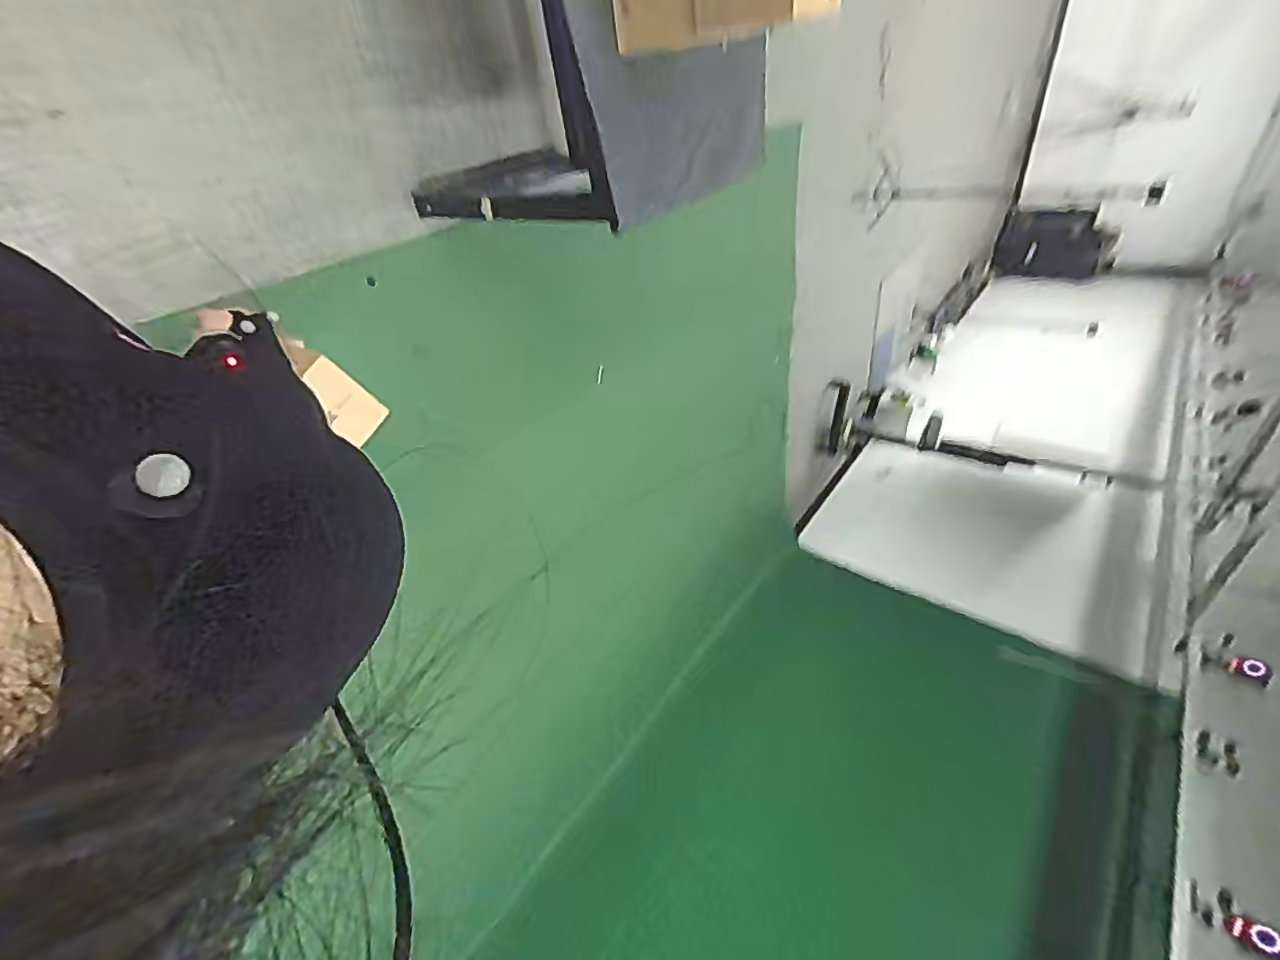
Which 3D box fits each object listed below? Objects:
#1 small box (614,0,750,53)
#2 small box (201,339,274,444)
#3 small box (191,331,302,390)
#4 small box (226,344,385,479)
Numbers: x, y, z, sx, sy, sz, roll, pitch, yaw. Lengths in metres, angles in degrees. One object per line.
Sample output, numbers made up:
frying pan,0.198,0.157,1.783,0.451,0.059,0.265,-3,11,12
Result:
small box,0.065,-0.828,0.896,0.179,0.176,0.168,-42,138,-36
small box,-0.764,-0.176,1.104,0.168,0.176,0.179,6,103,-53
small box,-0.870,-0.236,1.216,0.168,0.176,0.179,-24,126,-46
small box,-0.632,-0.132,1.016,0.179,0.176,0.168,-58,143,-18
